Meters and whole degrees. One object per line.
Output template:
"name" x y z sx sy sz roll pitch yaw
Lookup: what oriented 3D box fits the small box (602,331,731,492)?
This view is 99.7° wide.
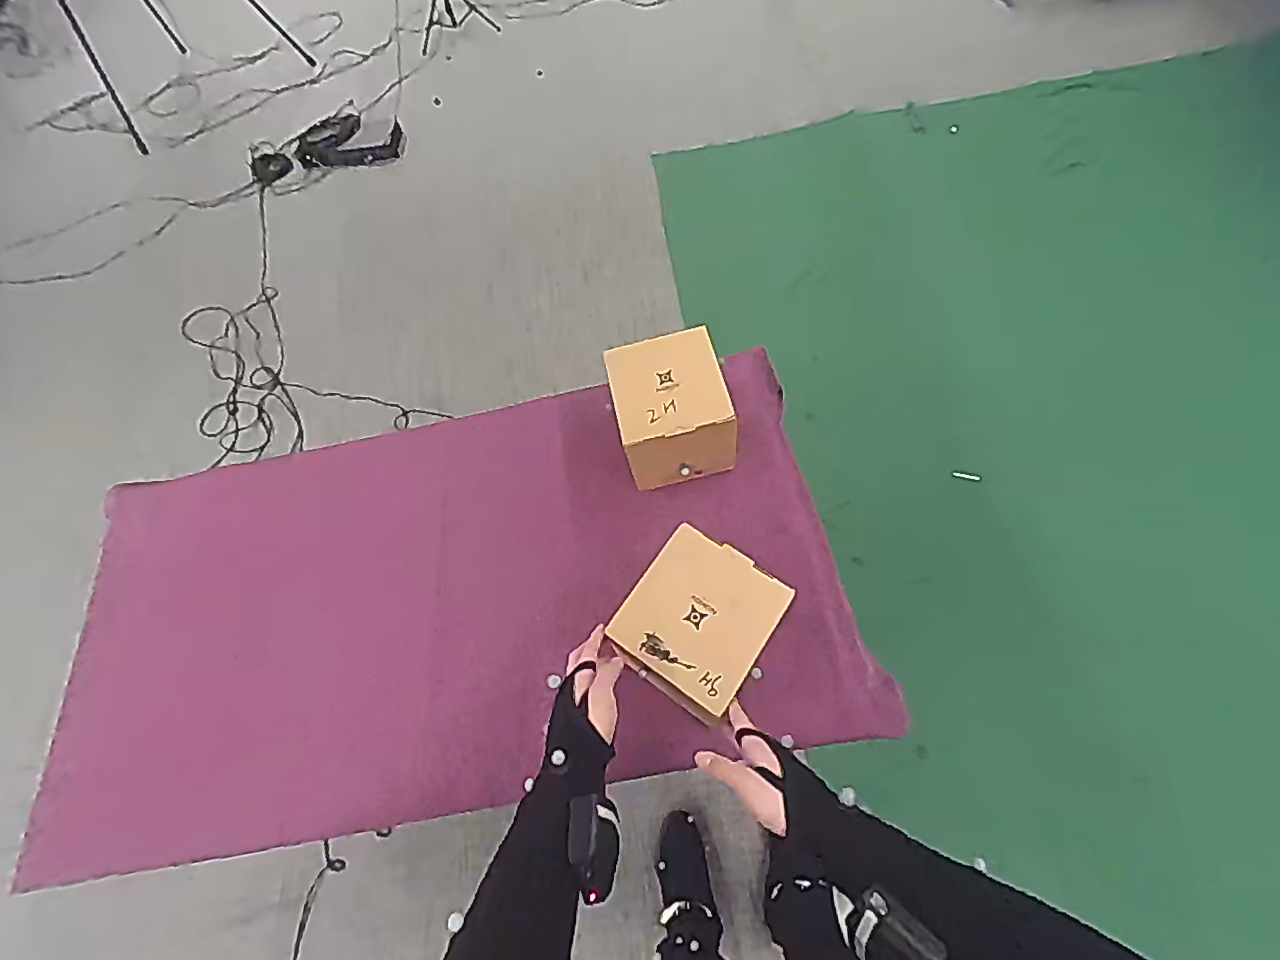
"small box" 0.045 -0.103 0.874 0.168 0.176 0.179 -14 65 4

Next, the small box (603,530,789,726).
"small box" 0.074 0.203 0.725 0.168 0.176 0.179 30 71 20
